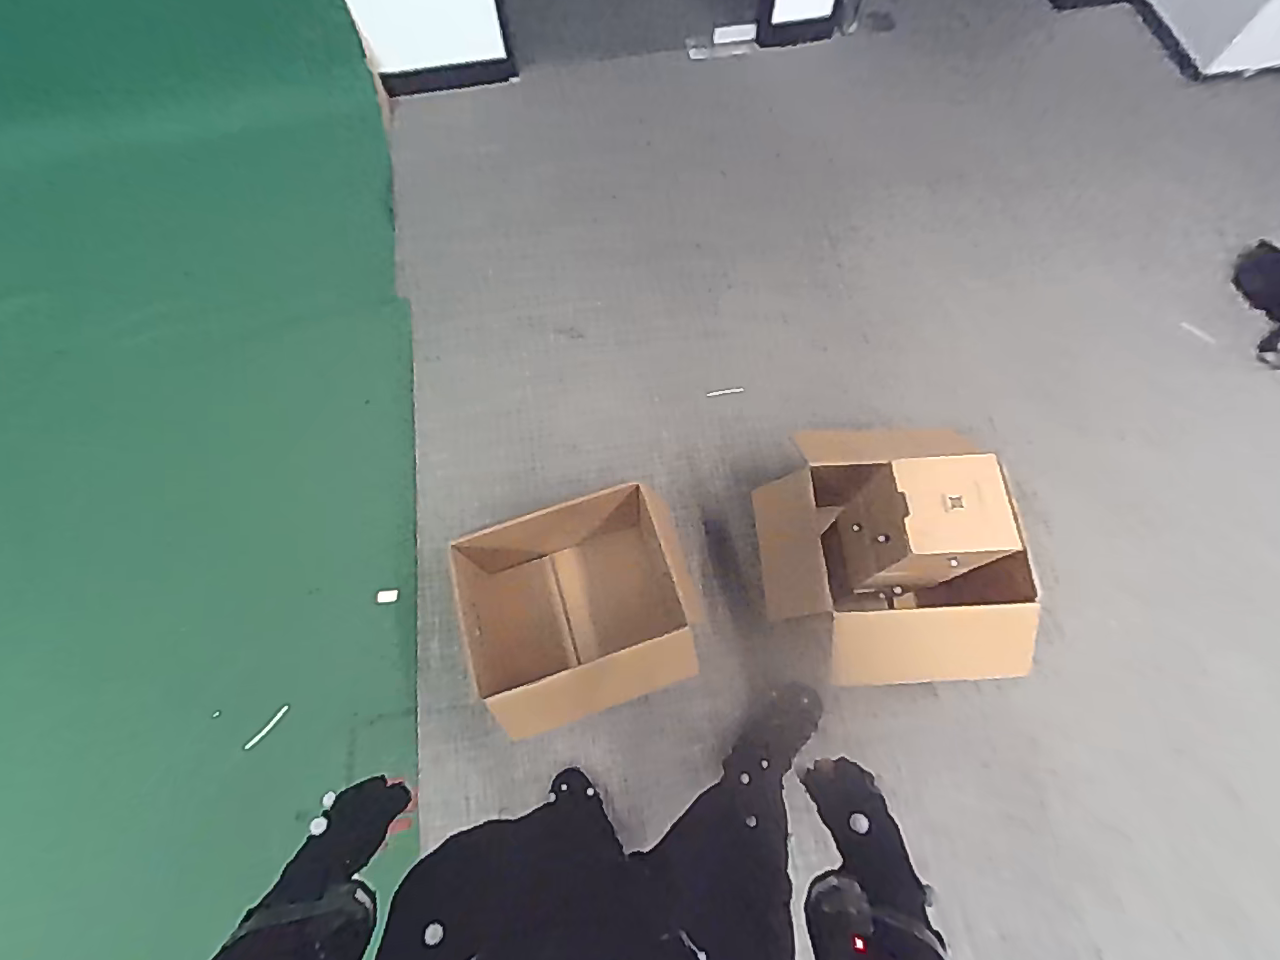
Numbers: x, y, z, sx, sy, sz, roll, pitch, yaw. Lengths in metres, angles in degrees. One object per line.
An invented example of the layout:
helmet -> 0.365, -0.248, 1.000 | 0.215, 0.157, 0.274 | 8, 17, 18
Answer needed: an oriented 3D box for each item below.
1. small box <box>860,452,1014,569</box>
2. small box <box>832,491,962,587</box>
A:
small box -> 0.512, 0.061, 0.968 | 0.179, 0.176, 0.168 | -4, 71, 1
small box -> 0.519, 0.123, 1.118 | 0.179, 0.176, 0.168 | -4, 68, 1
